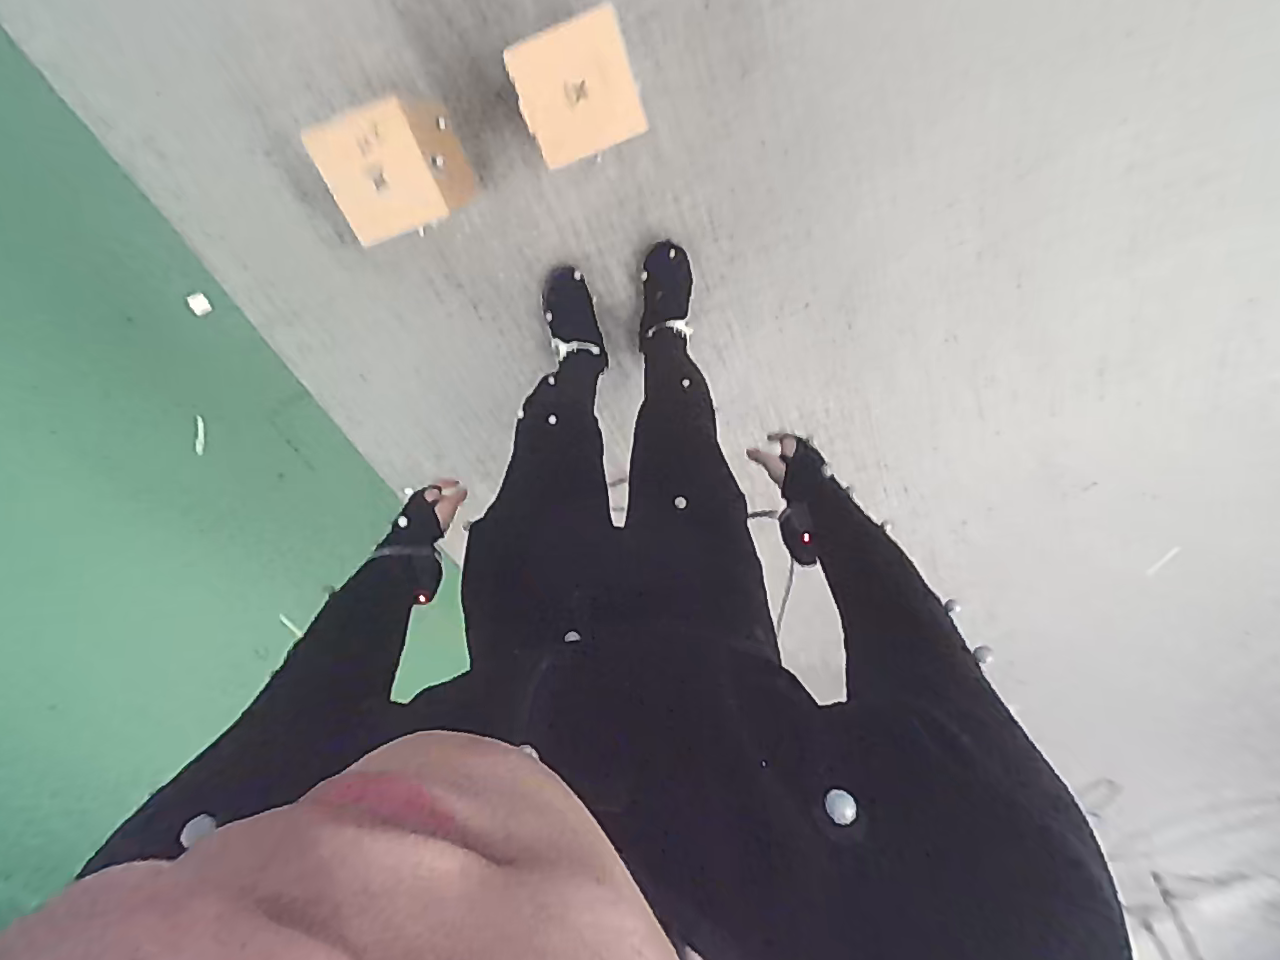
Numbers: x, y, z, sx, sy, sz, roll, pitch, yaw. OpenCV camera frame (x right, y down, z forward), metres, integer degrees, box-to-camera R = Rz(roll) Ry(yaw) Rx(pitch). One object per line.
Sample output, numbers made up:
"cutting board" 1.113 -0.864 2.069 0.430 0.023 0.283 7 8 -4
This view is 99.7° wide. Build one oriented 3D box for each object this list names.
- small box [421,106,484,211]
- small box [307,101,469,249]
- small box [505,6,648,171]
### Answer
"small box" -0.432 -0.616 1.079 0.168 0.176 0.179 -18 121 8
"small box" -0.419 -0.530 0.939 0.168 0.176 0.179 -17 122 6
"small box" -0.097 -0.632 0.895 0.179 0.176 0.168 -19 122 8
